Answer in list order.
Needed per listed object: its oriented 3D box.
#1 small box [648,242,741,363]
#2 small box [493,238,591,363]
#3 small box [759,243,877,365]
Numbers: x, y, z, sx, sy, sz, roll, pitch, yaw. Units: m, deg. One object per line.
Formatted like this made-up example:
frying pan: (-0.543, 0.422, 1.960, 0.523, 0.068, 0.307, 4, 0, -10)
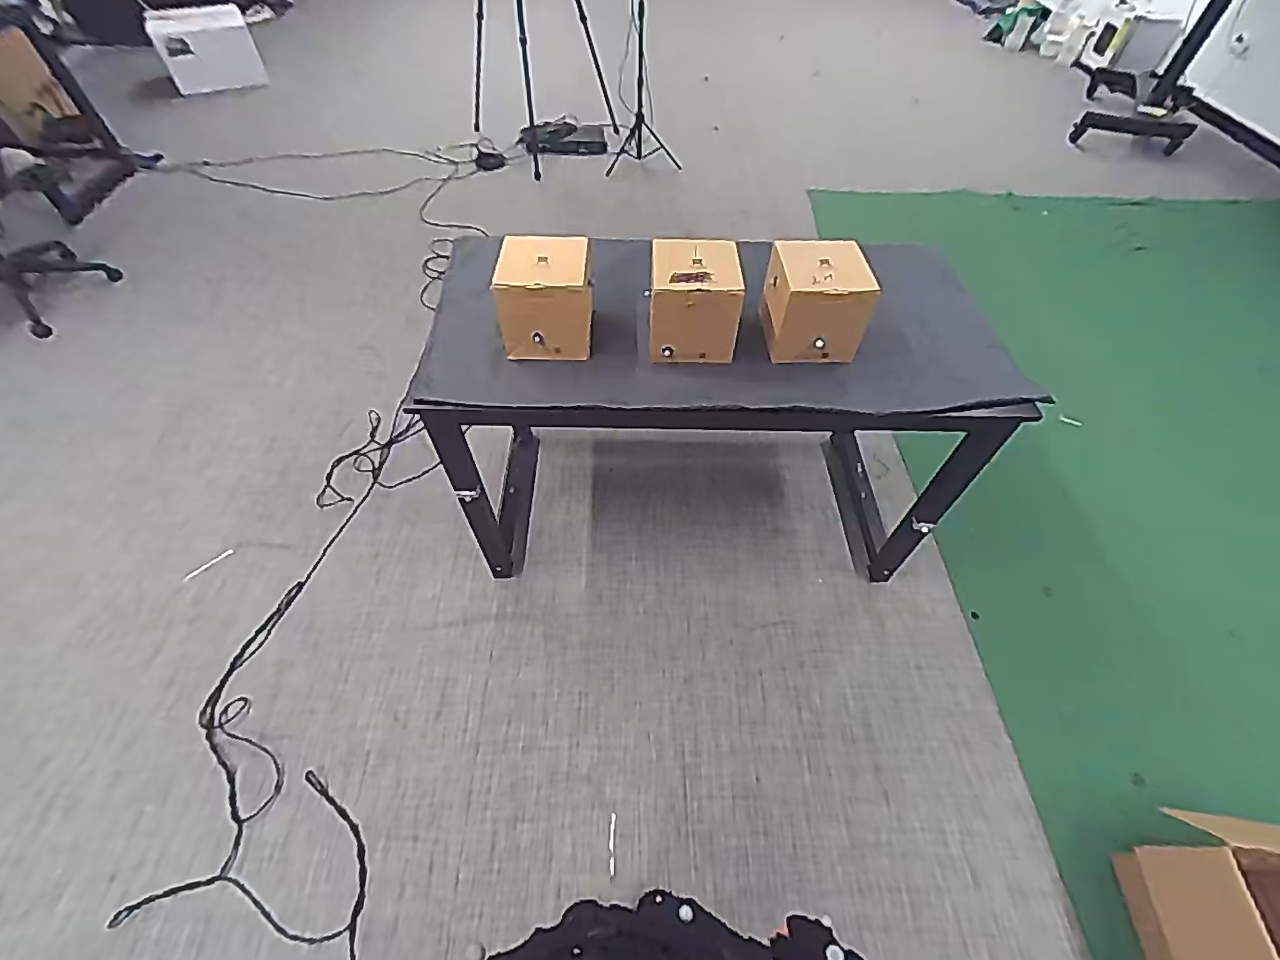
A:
small box: (0.102, -0.351, 1.082, 0.168, 0.176, 0.179, 1, 52, -1)
small box: (-0.186, -0.356, 1.077, 0.168, 0.176, 0.179, 0, 52, -2)
small box: (0.345, -0.354, 1.089, 0.168, 0.176, 0.179, -1, 53, -2)
